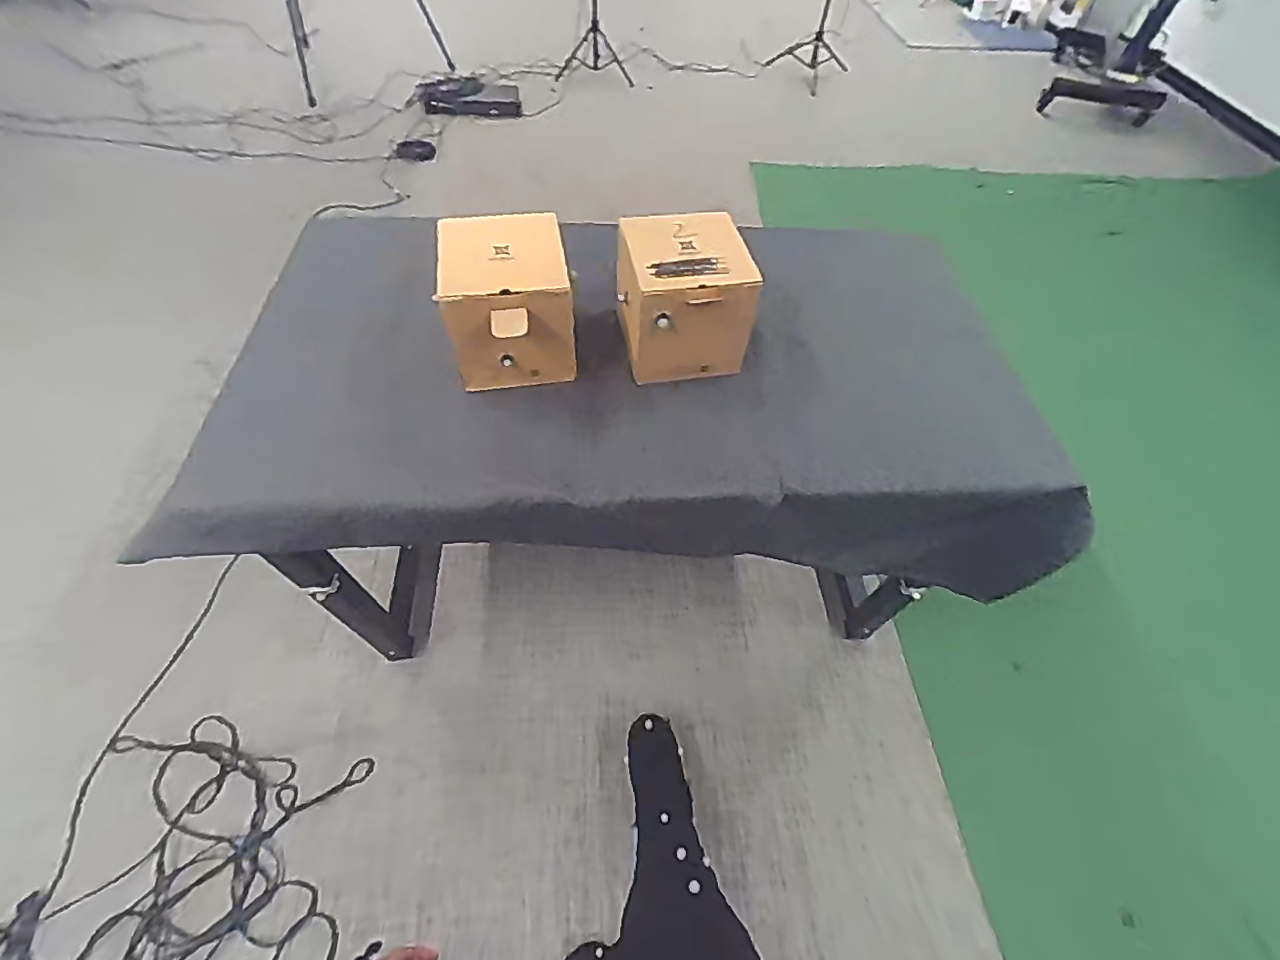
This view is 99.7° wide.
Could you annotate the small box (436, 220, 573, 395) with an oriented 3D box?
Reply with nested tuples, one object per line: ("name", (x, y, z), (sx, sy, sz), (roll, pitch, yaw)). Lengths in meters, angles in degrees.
("small box", (-0.191, -0.247, 0.782), (0.168, 0.176, 0.179), (-8, 57, -9))
